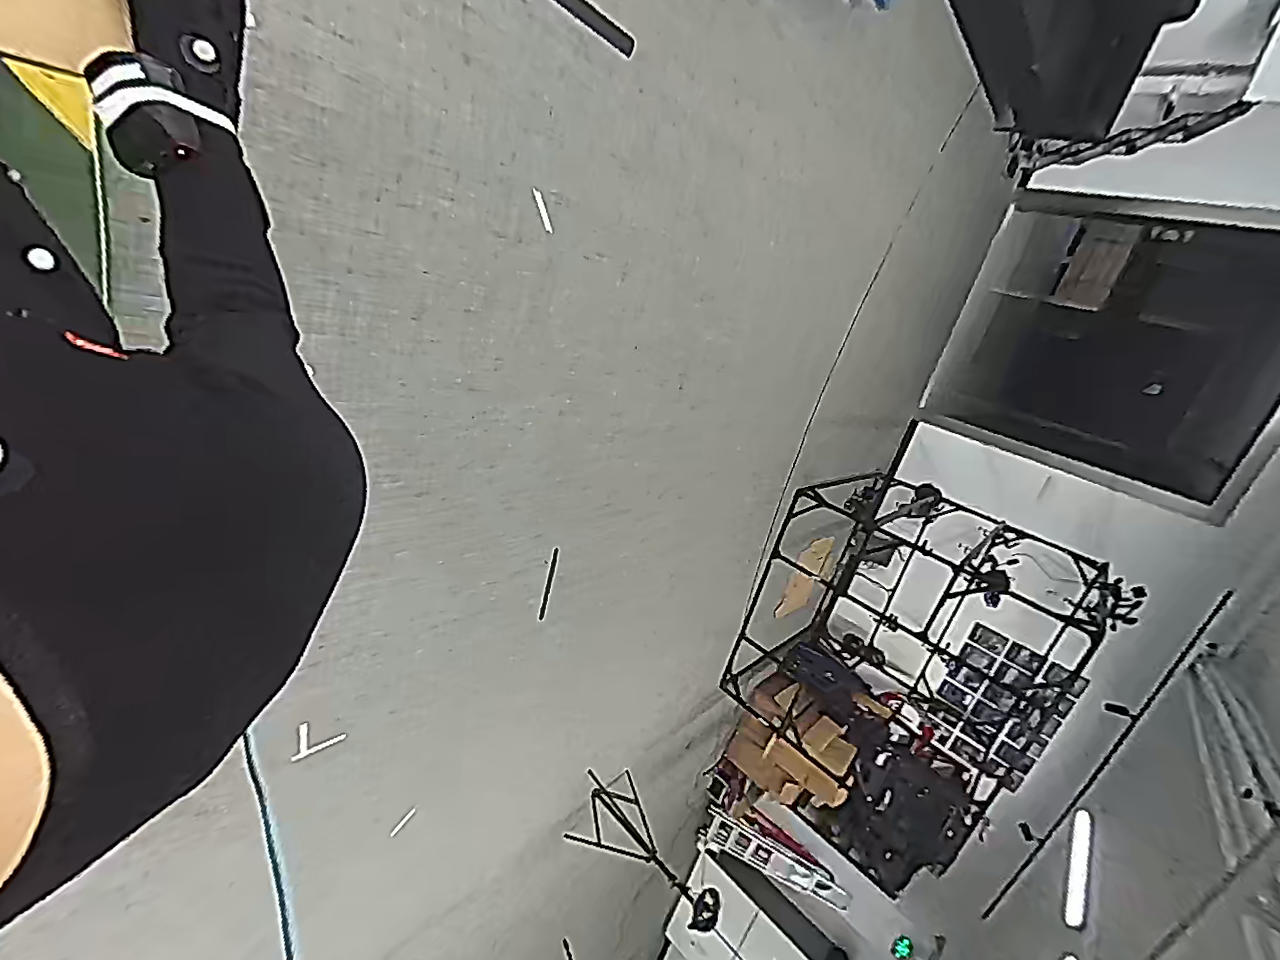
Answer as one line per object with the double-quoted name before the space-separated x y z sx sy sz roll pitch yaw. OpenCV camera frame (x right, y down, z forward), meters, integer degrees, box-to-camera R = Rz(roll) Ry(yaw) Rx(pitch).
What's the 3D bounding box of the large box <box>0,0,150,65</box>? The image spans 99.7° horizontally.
"large box" -0.597 -0.495 0.305 0.408 0.320 0.320 -15 128 -49
